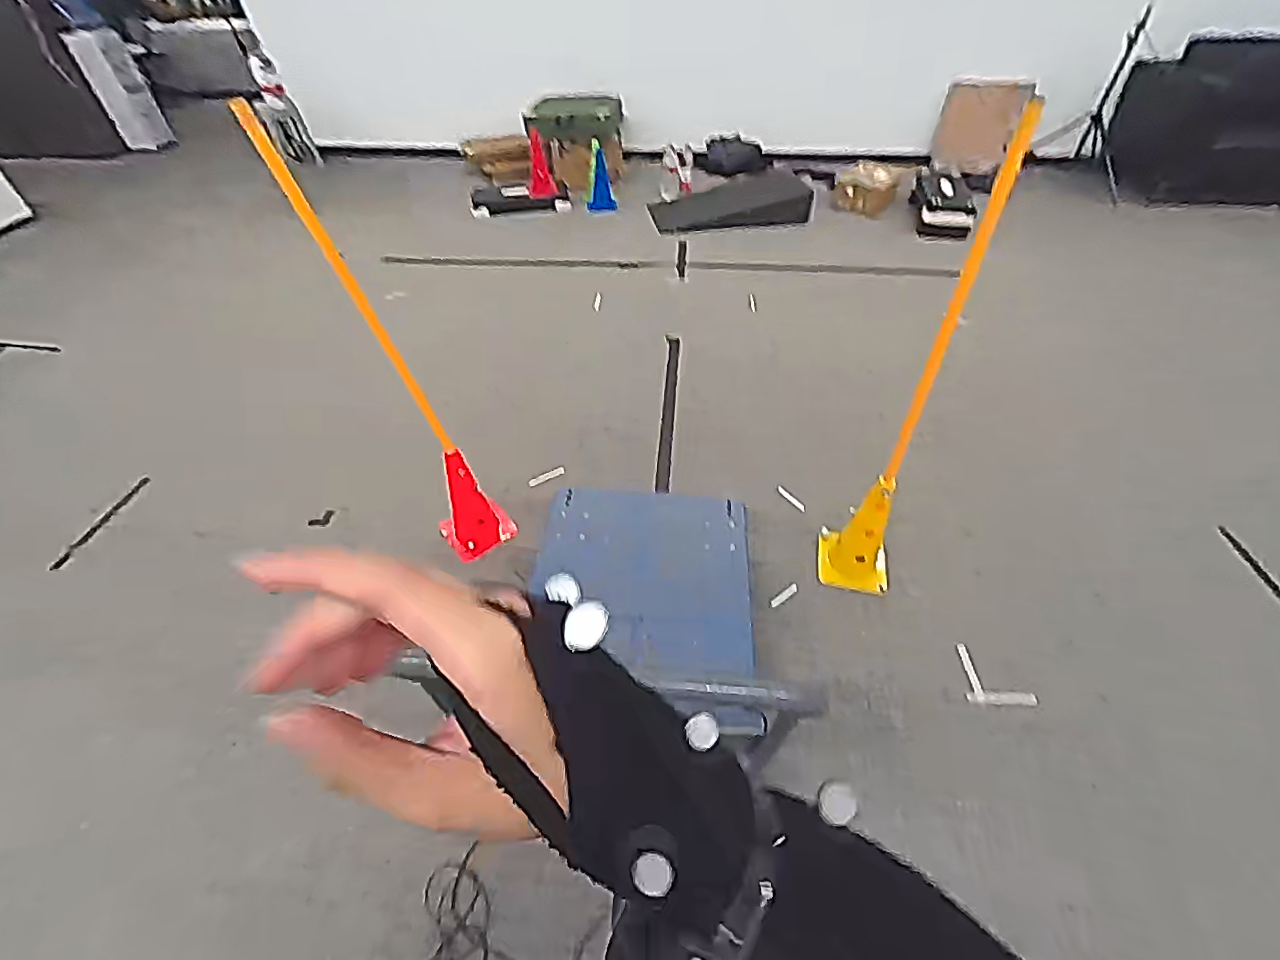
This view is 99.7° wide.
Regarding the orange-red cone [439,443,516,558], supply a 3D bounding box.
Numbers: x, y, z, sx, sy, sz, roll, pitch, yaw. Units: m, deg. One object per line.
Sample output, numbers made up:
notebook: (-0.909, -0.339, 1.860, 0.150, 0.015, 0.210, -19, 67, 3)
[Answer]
orange-red cone: (-0.526, 0.031, 1.636, 0.199, 0.360, 0.198, -30, 54, -28)
